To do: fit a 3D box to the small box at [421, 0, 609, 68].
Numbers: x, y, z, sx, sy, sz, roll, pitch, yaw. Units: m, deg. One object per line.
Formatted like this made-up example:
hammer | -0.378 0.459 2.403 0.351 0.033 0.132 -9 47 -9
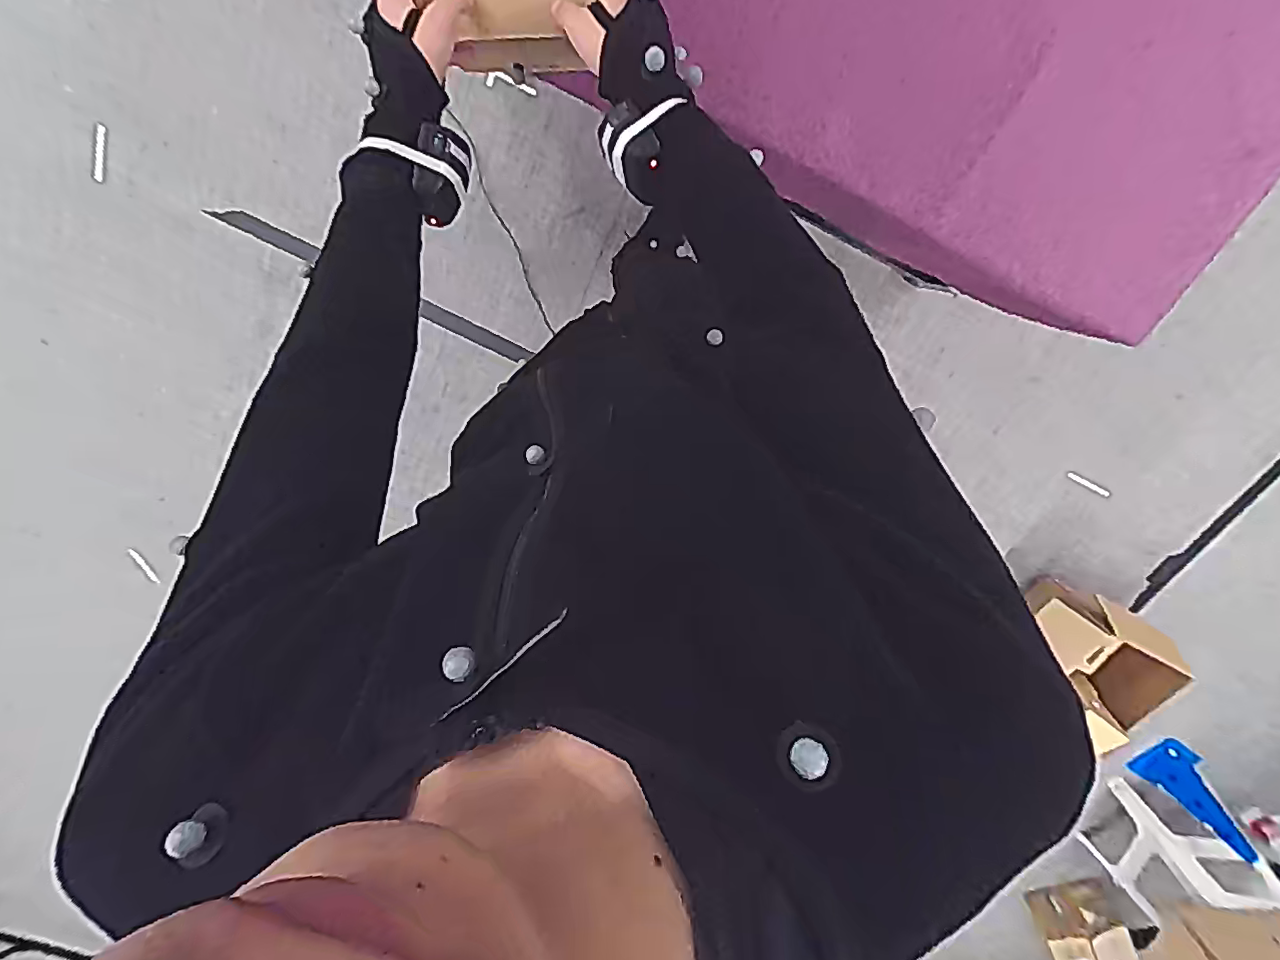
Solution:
small box | -0.118 -0.520 0.515 0.168 0.176 0.179 -4 118 -2
